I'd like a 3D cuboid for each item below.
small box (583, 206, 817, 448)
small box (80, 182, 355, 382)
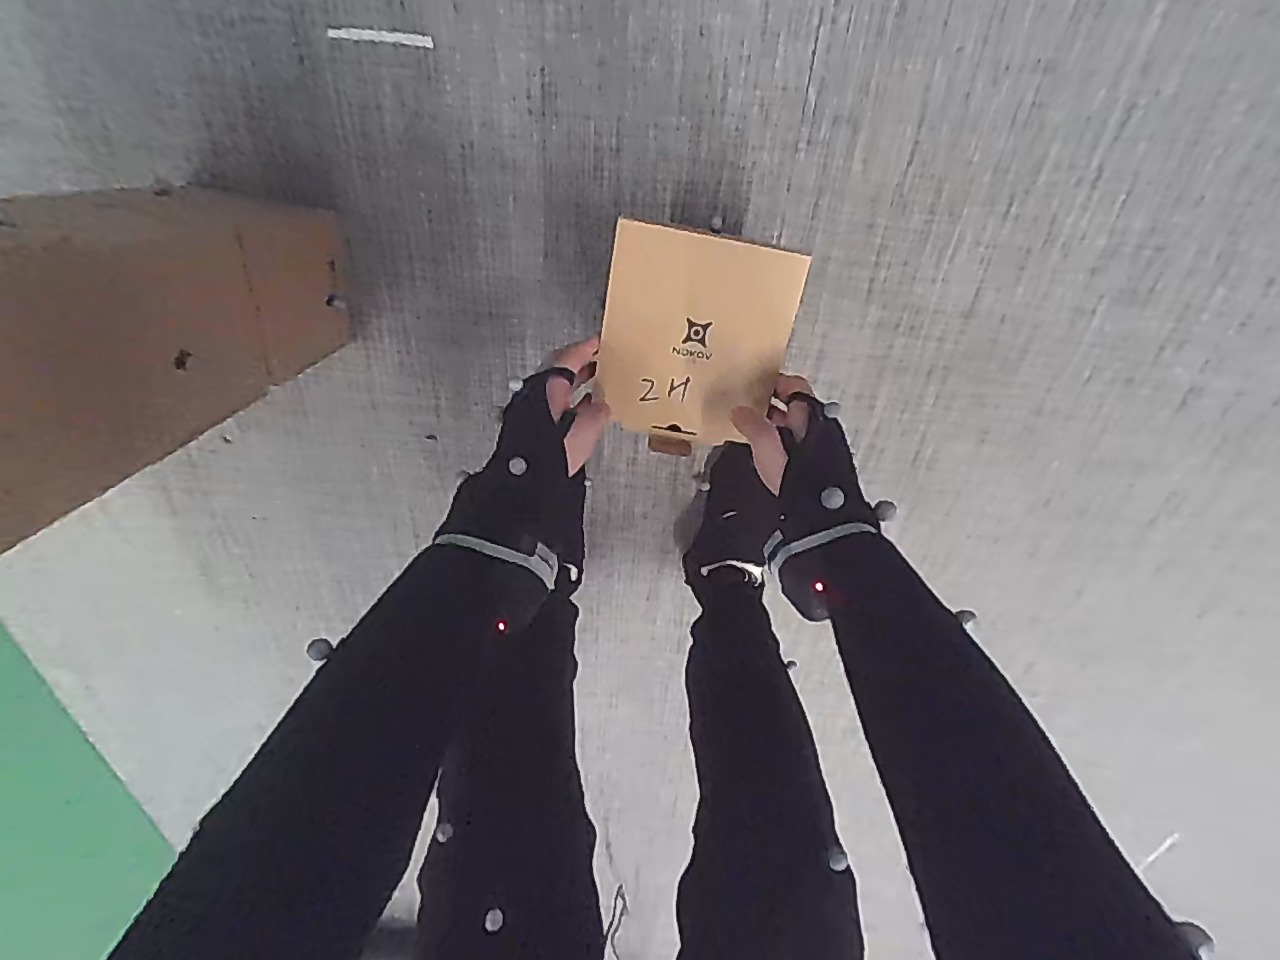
[{"bbox_3d":[0.051,-0.162,0.551,0.168,0.176,0.179,17,117,-4],"label":"small box"},{"bbox_3d":[-0.456,-0.230,0.612,0.179,0.176,0.168,9,122,-3],"label":"small box"}]
